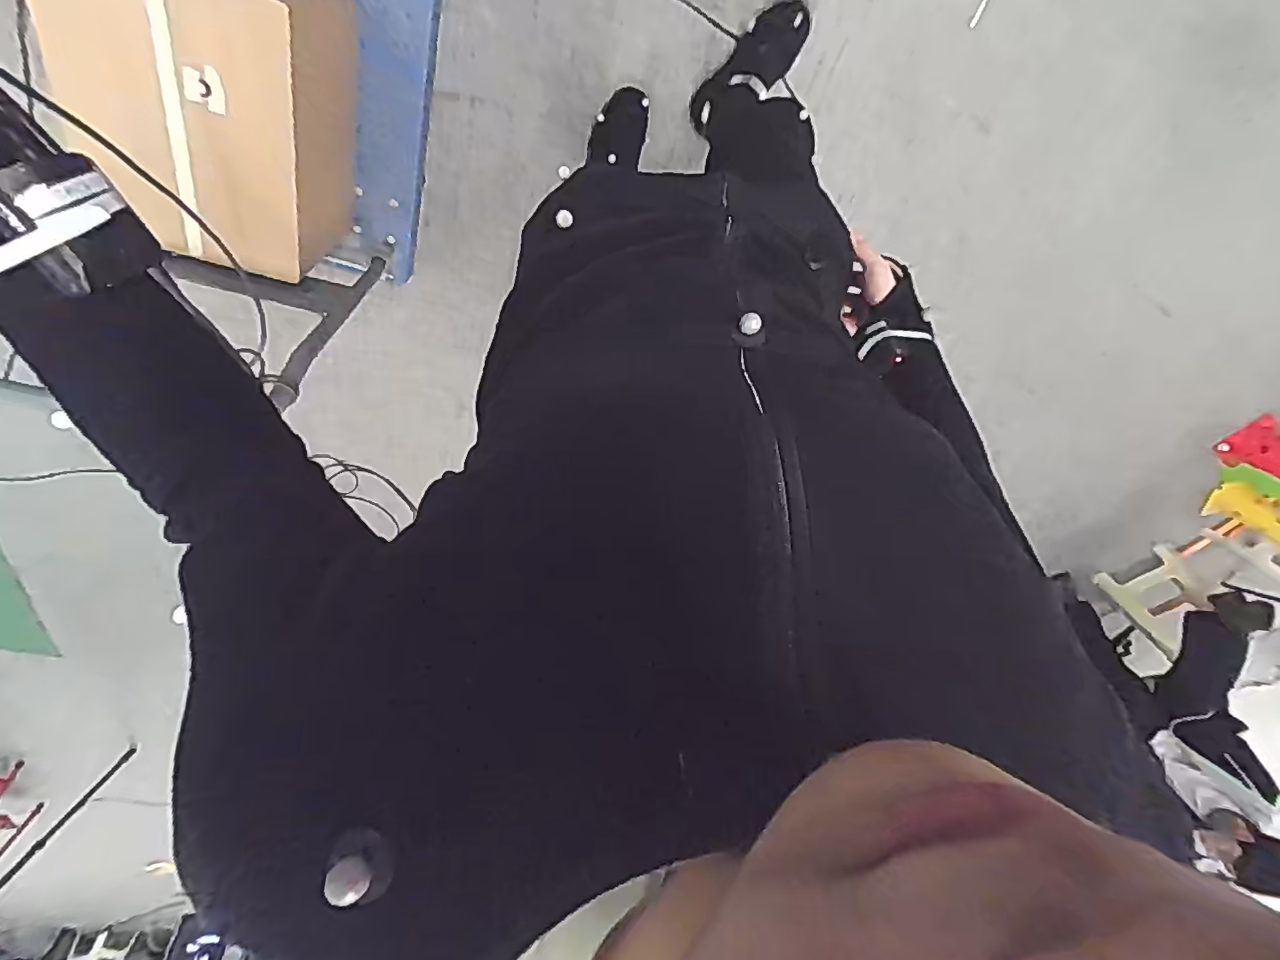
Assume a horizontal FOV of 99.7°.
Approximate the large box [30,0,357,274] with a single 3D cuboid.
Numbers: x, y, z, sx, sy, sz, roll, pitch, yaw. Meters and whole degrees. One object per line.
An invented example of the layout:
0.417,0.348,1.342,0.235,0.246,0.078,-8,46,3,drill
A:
-0.689,-0.631,0.906,0.320,0.320,0.408,13,129,-17,large box
